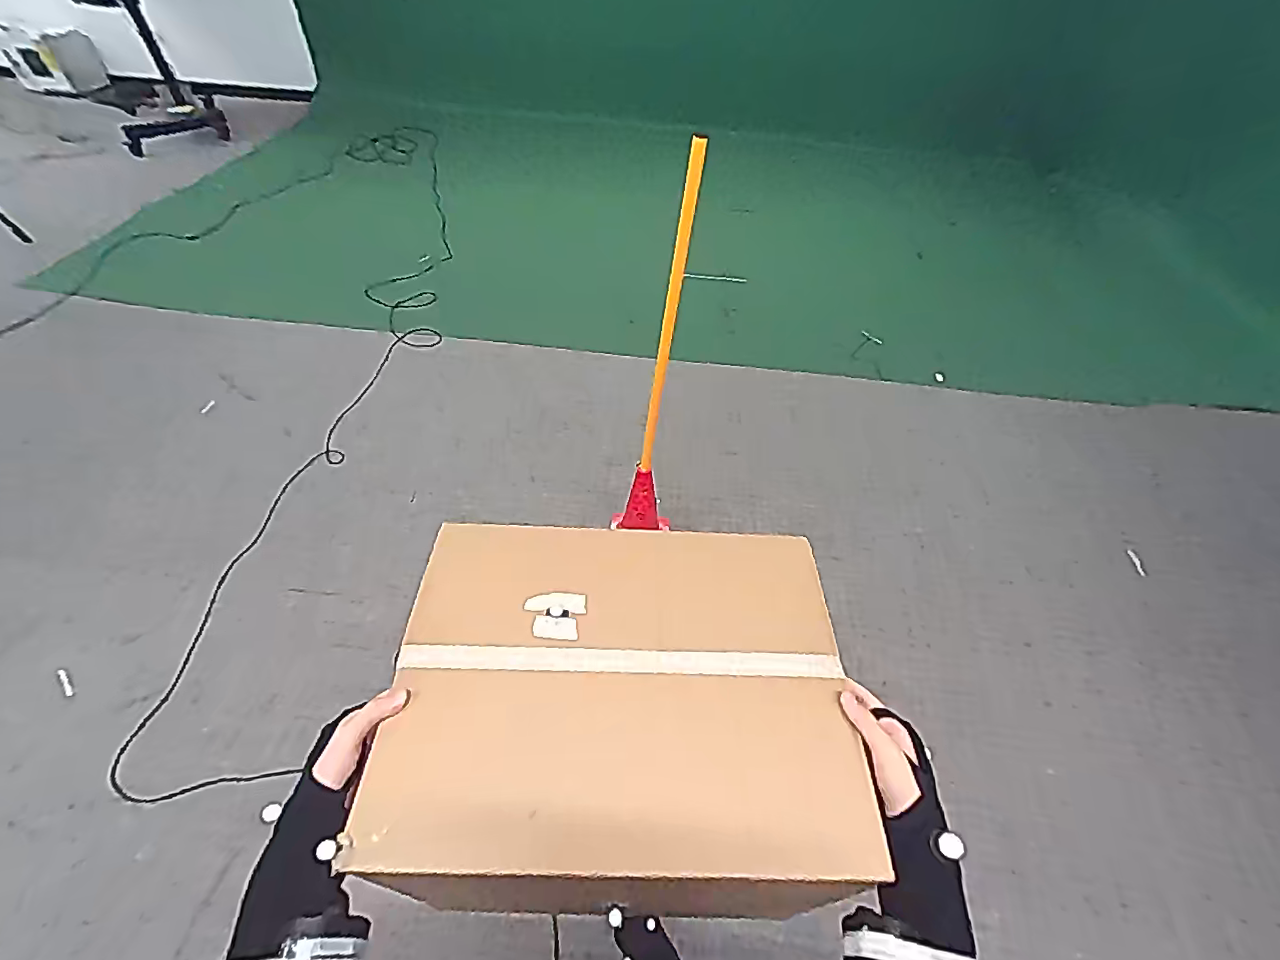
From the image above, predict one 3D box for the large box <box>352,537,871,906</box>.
[{"bbox_3d":[-0.022,0.282,0.618,0.408,0.320,0.320,2,47,-1],"label":"large box"}]
